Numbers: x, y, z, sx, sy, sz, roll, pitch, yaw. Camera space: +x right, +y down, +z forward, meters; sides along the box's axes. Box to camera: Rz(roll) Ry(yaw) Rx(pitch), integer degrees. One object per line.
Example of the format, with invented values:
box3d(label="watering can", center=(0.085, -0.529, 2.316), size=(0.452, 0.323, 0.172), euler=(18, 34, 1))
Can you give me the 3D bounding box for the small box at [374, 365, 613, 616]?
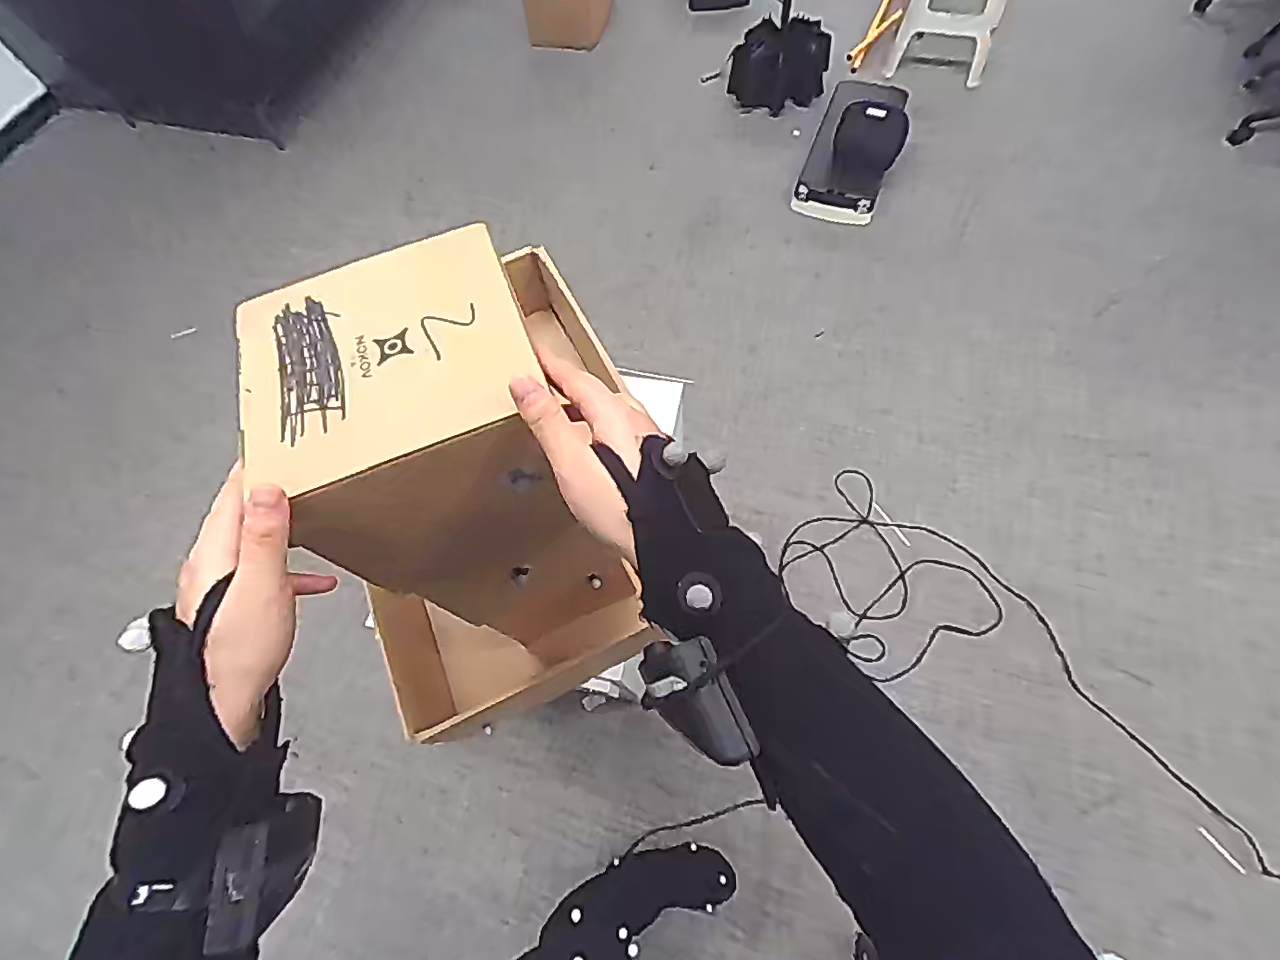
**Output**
box3d(label="small box", center=(-0.137, 0.019, 0.563), size=(0.179, 0.176, 0.168), euler=(-25, 63, -5))
